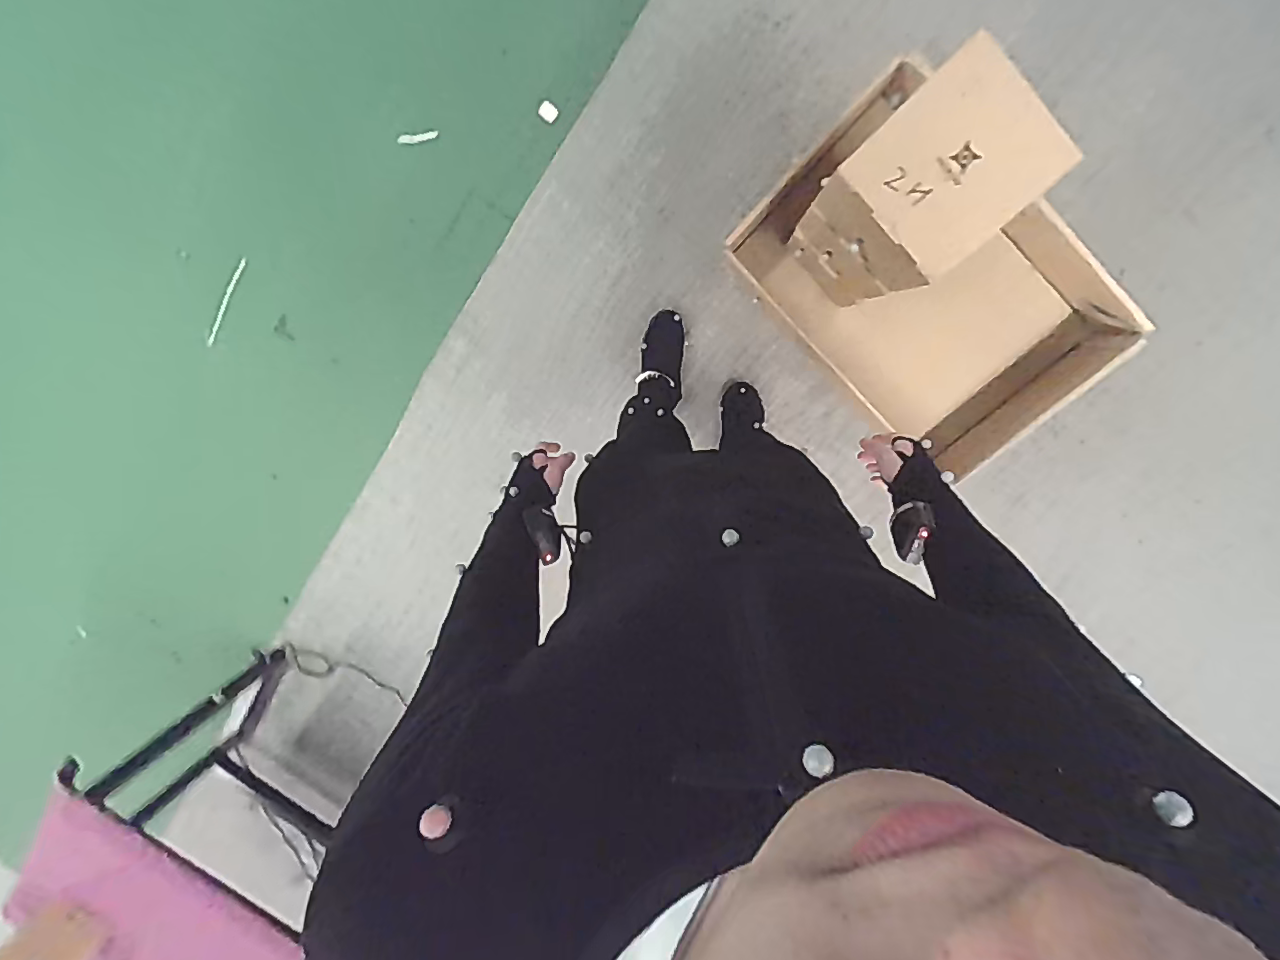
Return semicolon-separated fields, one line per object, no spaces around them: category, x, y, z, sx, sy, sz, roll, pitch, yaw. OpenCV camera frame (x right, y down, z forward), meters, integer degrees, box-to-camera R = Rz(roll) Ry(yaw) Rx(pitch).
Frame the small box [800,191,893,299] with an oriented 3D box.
small box;0.361;-0.391;0.797;0.179;0.176;0.168;-42;98;18

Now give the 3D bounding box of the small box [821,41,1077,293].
small box;0.342;-0.344;0.639;0.179;0.176;0.168;-41;97;18
